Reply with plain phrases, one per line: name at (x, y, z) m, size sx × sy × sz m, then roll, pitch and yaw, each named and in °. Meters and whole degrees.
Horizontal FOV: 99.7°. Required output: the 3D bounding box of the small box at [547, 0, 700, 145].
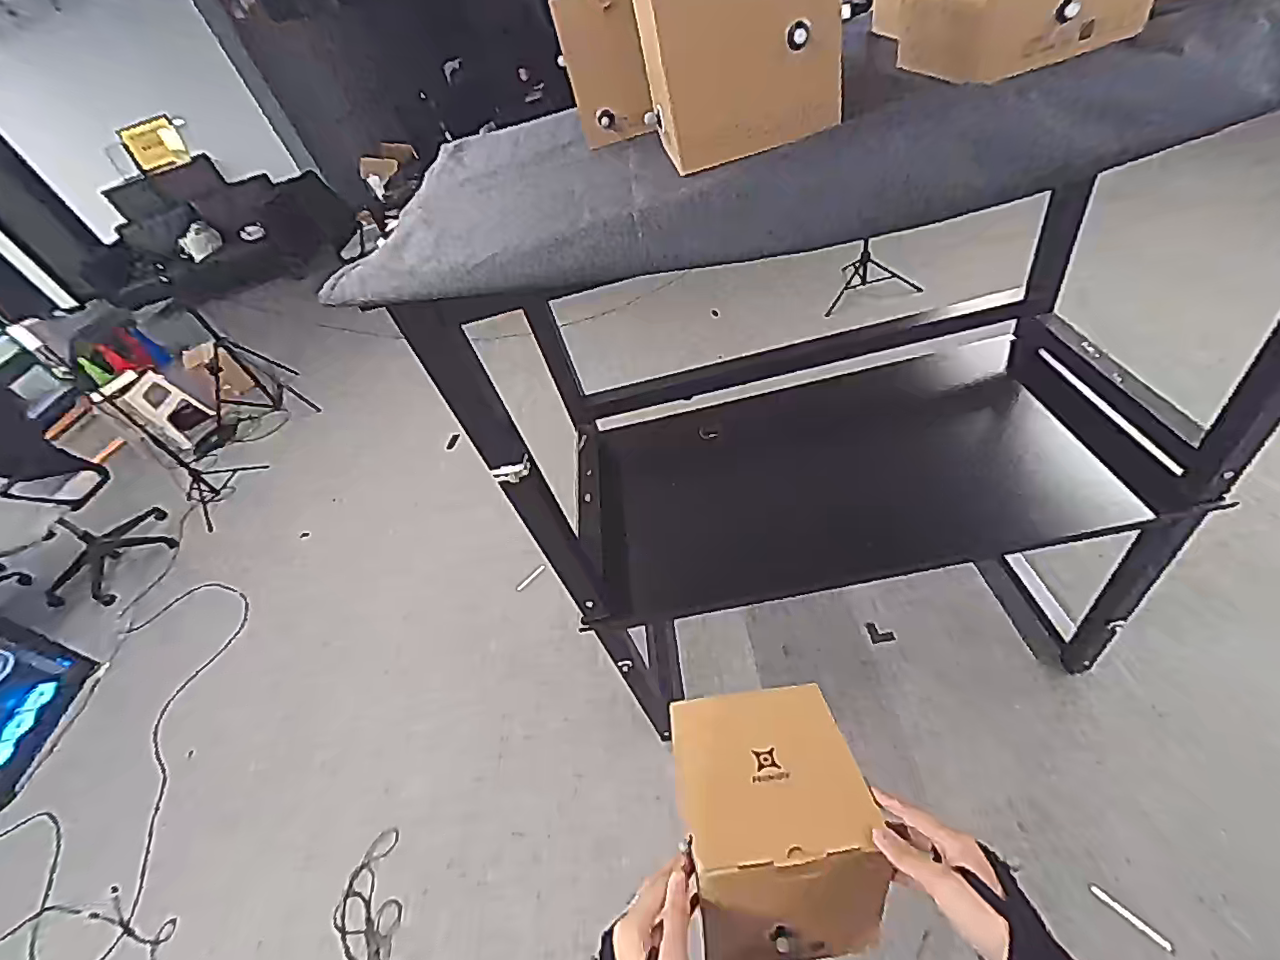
small box at (-0.019, -0.591, 0.750) m, size 0.168 × 0.176 × 0.179 m, roll -13°, pitch 44°, yaw 7°

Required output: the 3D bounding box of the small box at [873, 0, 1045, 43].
small box at (0.414, -0.695, 0.699) m, size 0.168 × 0.176 × 0.179 m, roll -13°, pitch 44°, yaw 8°
